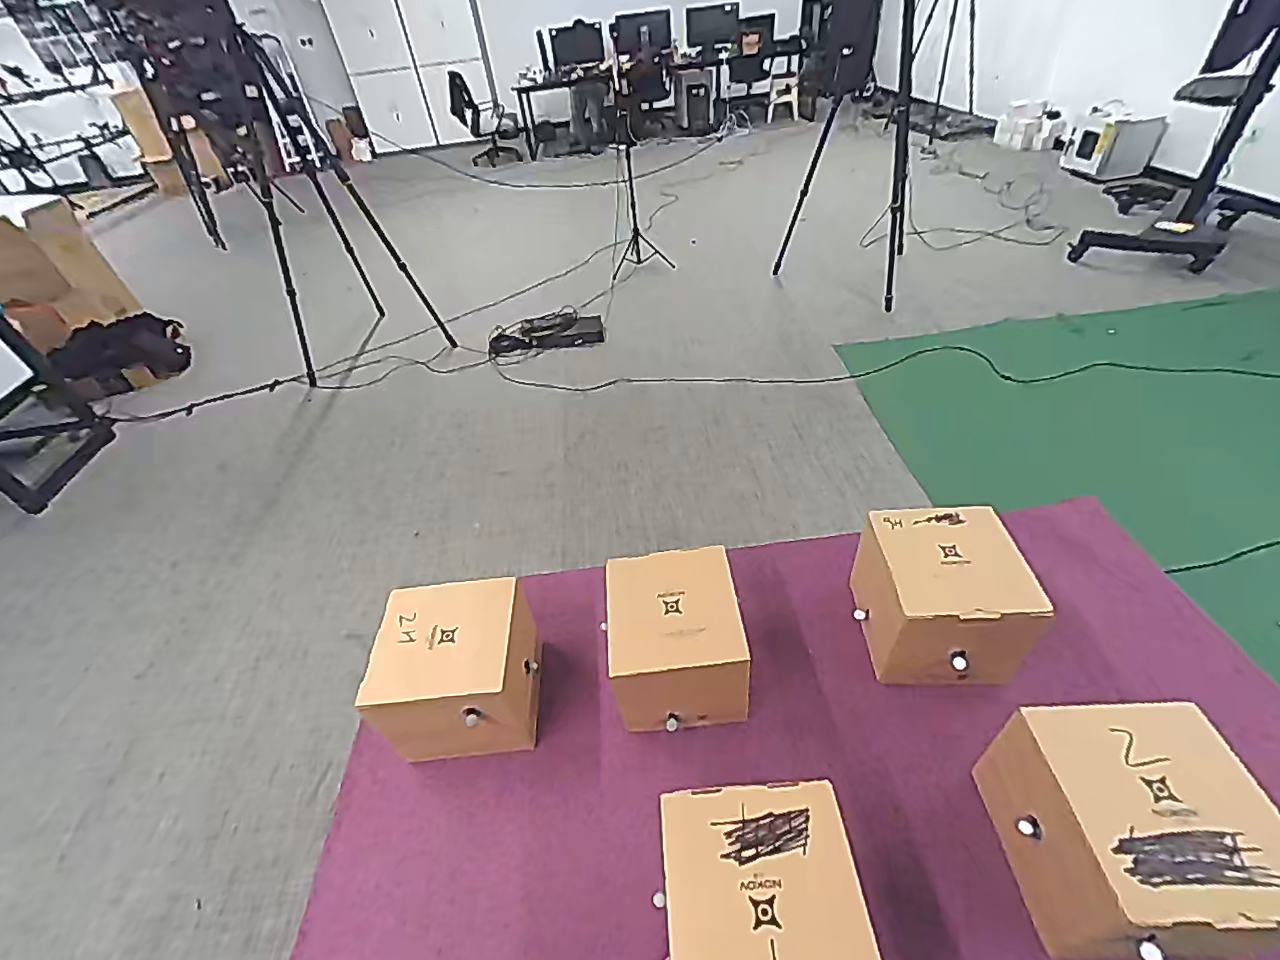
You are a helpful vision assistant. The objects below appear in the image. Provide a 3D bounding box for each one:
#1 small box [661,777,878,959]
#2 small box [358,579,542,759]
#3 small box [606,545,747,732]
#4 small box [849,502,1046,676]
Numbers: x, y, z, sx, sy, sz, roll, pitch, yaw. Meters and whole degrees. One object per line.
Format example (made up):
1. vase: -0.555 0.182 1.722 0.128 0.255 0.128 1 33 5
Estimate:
1. small box: 0.111 0.408 0.509 0.168 0.176 0.179 -7 42 3
2. small box: -0.238 0.258 0.736 0.179 0.176 0.168 -7 42 2
3. small box: 0.046 0.215 0.736 0.168 0.176 0.179 -8 43 2
4. small box: 0.398 0.153 0.739 0.168 0.176 0.179 -3 43 6
